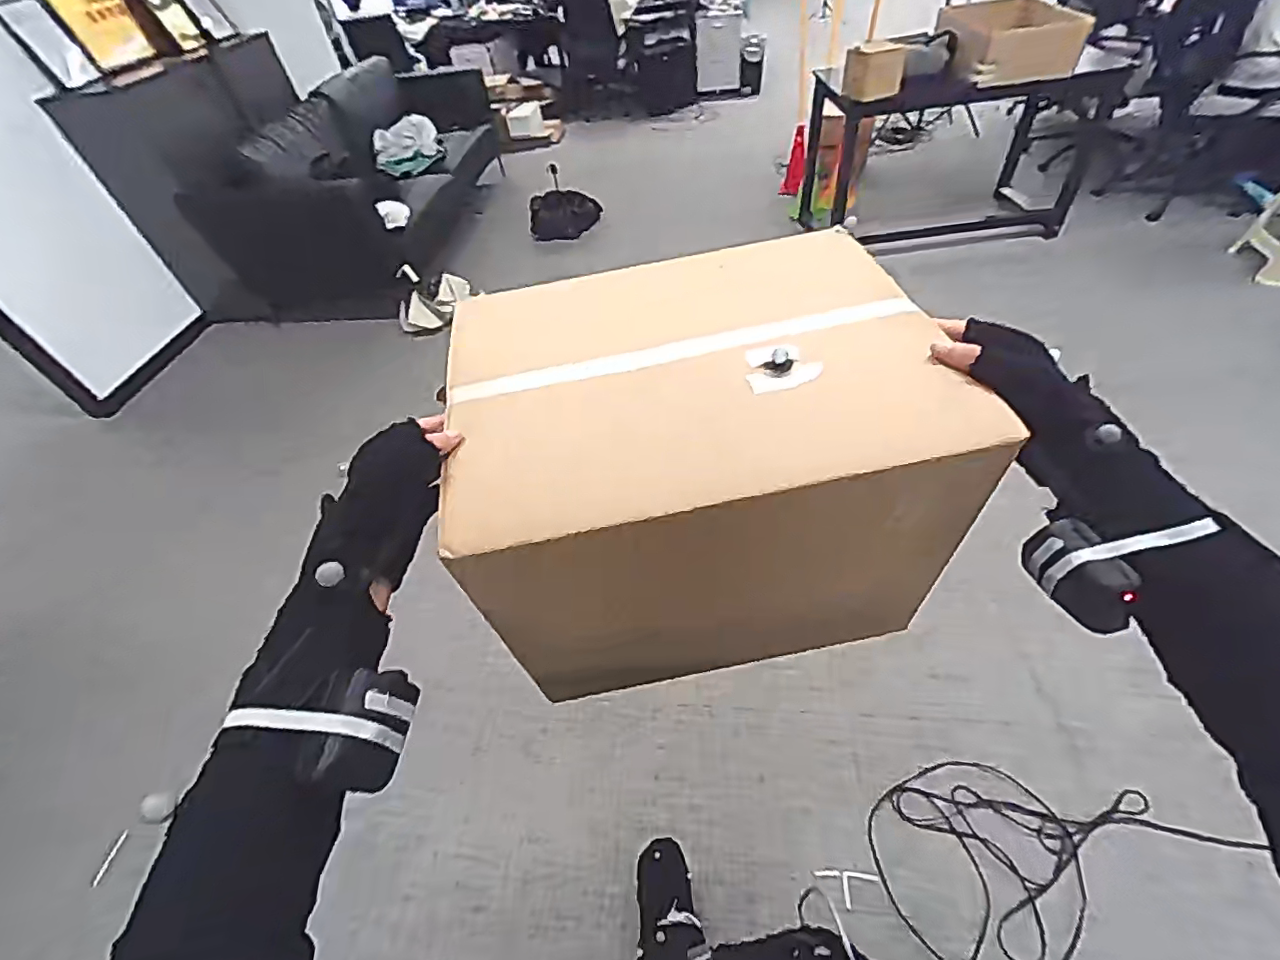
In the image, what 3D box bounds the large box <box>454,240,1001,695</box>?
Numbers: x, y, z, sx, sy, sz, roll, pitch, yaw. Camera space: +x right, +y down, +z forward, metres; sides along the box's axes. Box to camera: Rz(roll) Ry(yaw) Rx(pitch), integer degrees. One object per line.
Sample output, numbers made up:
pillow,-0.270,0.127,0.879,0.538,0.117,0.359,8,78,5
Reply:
large box,0.053,-0.007,0.583,0.408,0.320,0.320,-11,51,-2
